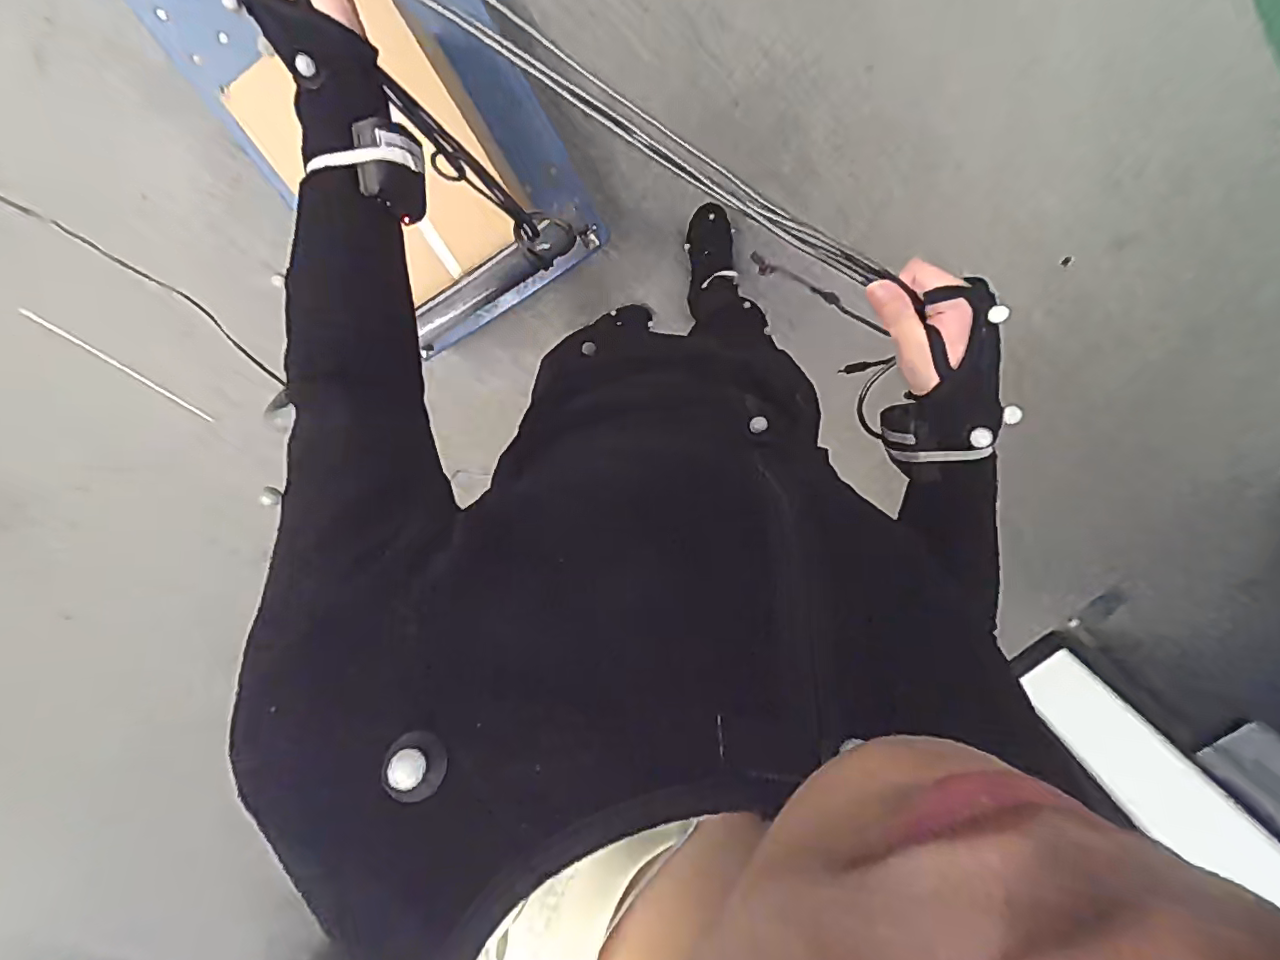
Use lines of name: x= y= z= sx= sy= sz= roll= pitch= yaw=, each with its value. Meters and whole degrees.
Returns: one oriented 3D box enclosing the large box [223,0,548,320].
large box: x=-0.423 y=-0.577 z=1.020 sx=0.320 sy=0.320 sz=0.408 roll=-29 pitch=114 yaw=9
